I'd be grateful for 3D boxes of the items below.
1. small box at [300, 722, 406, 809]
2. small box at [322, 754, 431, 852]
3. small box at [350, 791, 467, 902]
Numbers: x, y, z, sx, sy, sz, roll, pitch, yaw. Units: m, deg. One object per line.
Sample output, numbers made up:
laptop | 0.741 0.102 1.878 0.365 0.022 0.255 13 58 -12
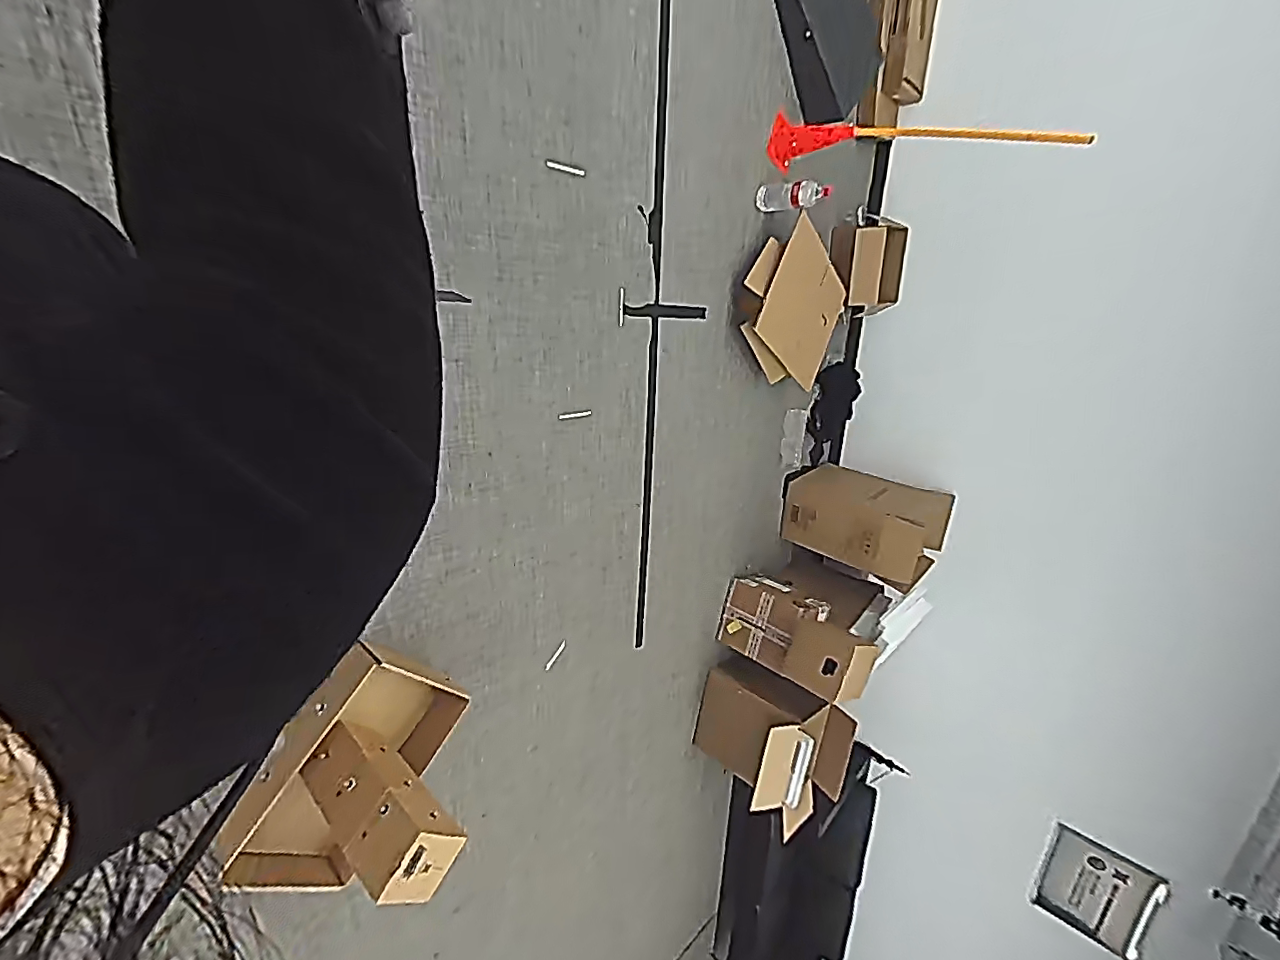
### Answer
small box | -0.823 0.827 1.552 0.168 0.176 0.179 -55 138 -20
small box | -0.704 0.869 1.451 0.168 0.176 0.179 -57 138 -19
small box | -0.580 0.911 1.351 0.168 0.176 0.179 -57 140 -18
